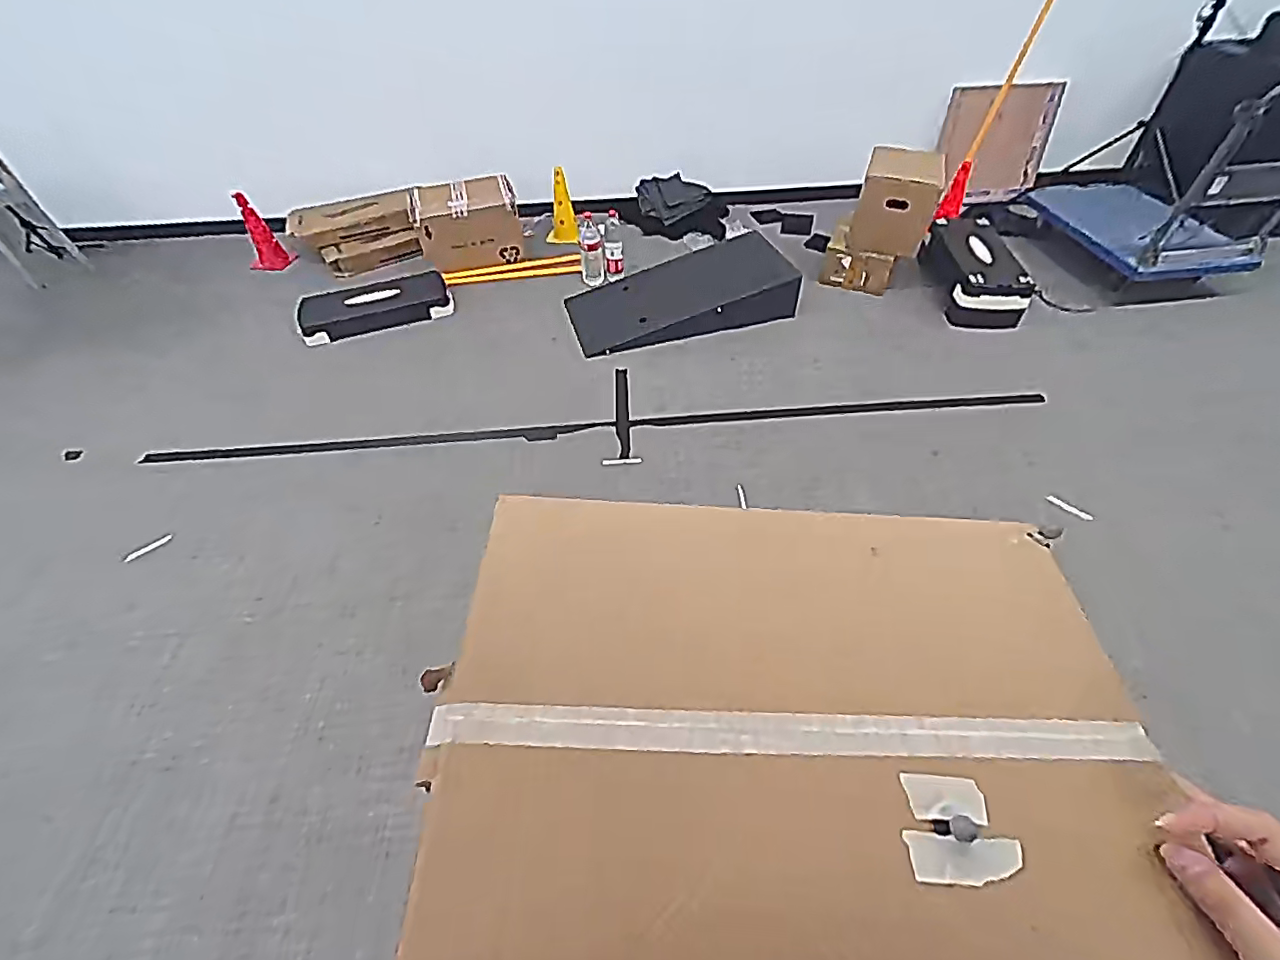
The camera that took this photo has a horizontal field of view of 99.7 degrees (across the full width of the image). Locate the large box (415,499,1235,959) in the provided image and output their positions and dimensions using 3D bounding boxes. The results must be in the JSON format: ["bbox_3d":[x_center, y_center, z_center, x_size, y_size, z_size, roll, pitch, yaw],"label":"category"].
[{"bbox_3d":[0.081,0.235,0.436,0.408,0.320,0.320,4,52,-3],"label":"large box"}]
